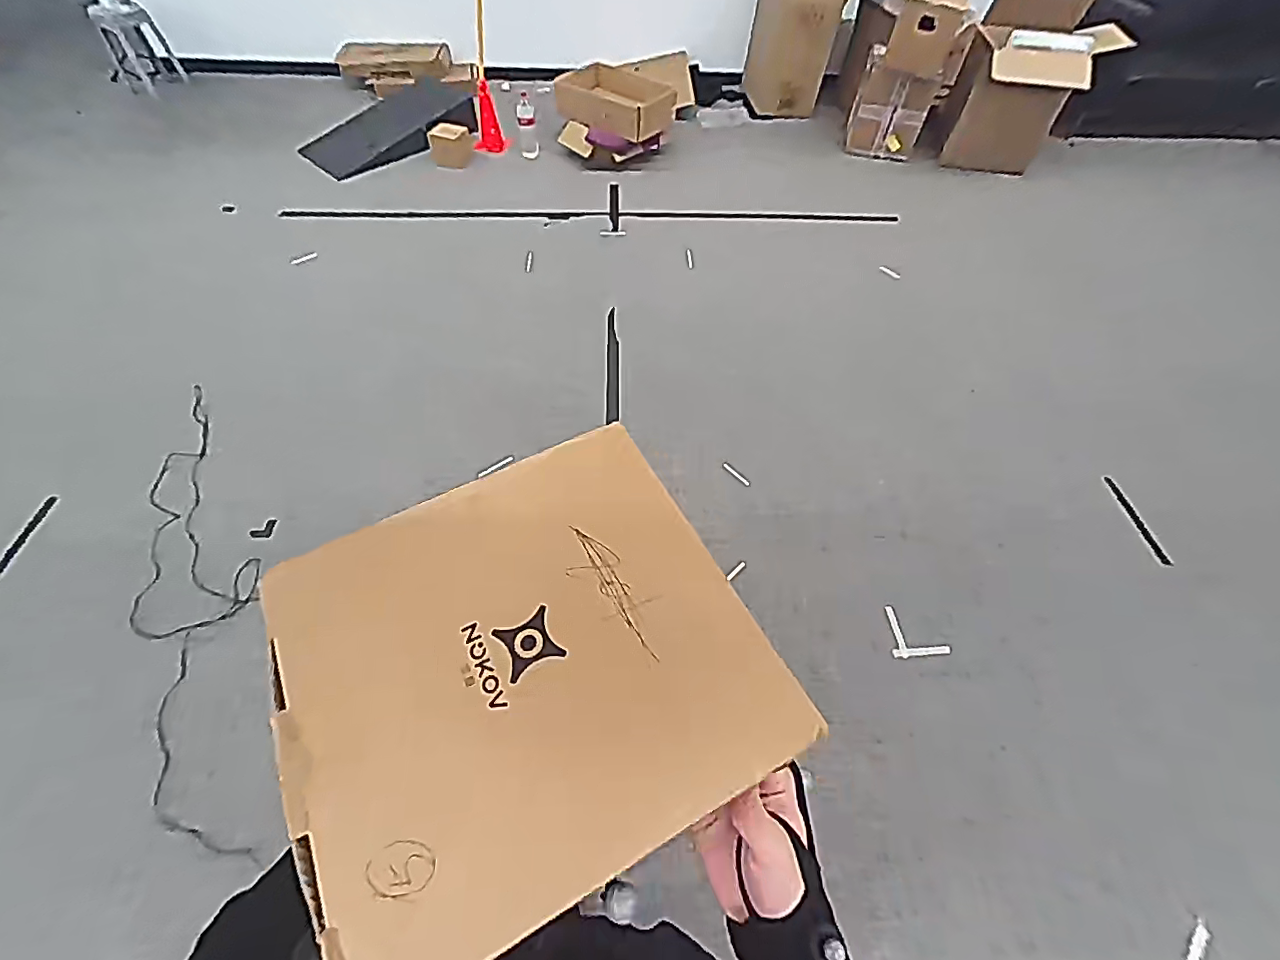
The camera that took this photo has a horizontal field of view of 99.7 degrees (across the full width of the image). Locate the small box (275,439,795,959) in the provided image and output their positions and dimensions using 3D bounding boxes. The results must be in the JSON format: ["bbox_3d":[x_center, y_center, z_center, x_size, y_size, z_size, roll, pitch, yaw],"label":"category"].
[{"bbox_3d":[-0.050,0.115,0.293,0.179,0.176,0.168,-25,61,-16],"label":"small box"}]
